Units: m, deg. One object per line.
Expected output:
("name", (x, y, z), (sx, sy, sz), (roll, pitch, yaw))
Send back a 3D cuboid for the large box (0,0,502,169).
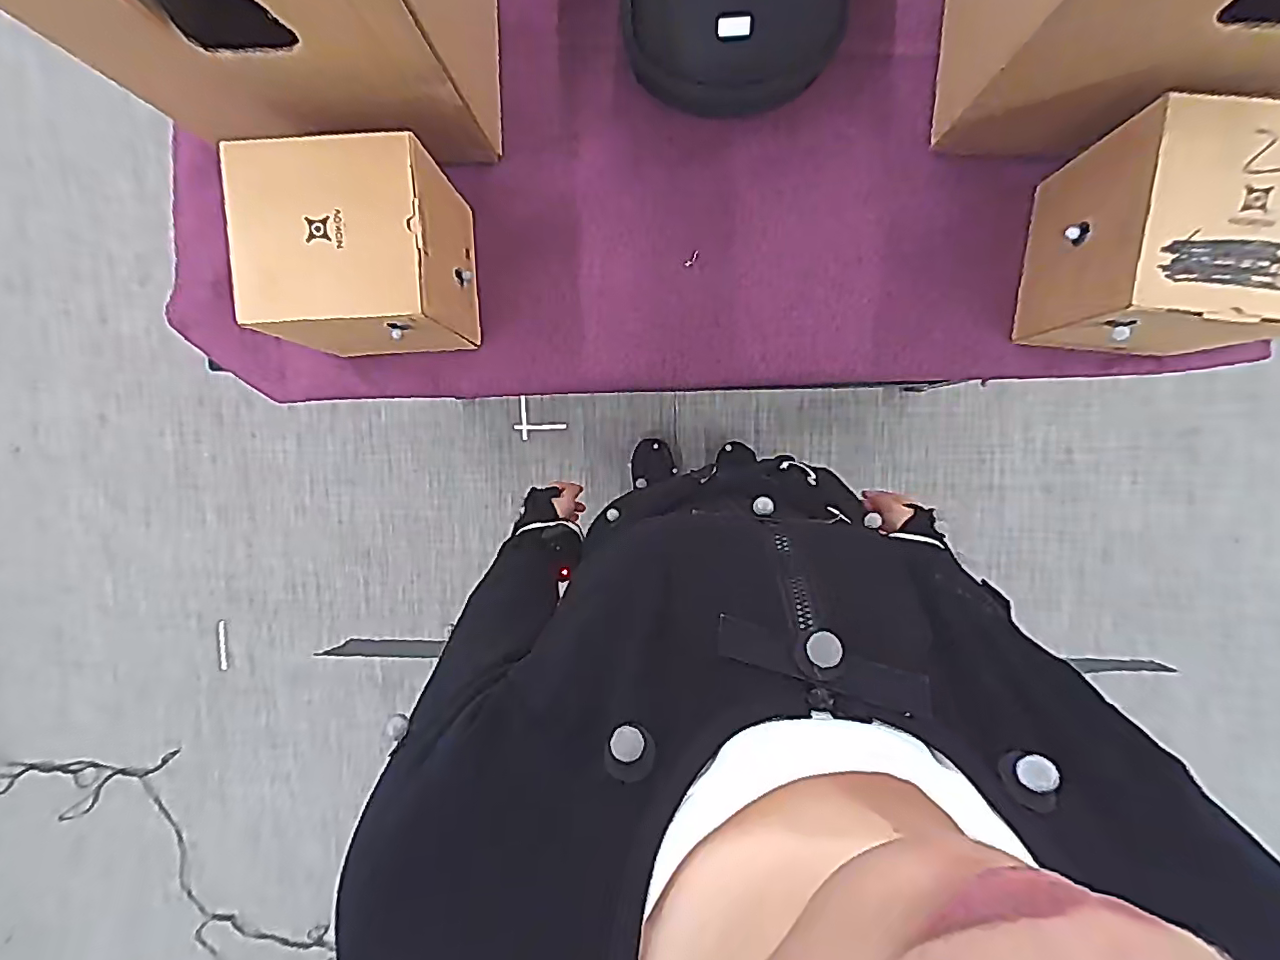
("large box", (-0.325, -0.561, 0.487), (0.320, 0.320, 0.408), (-1, 97, 3))
